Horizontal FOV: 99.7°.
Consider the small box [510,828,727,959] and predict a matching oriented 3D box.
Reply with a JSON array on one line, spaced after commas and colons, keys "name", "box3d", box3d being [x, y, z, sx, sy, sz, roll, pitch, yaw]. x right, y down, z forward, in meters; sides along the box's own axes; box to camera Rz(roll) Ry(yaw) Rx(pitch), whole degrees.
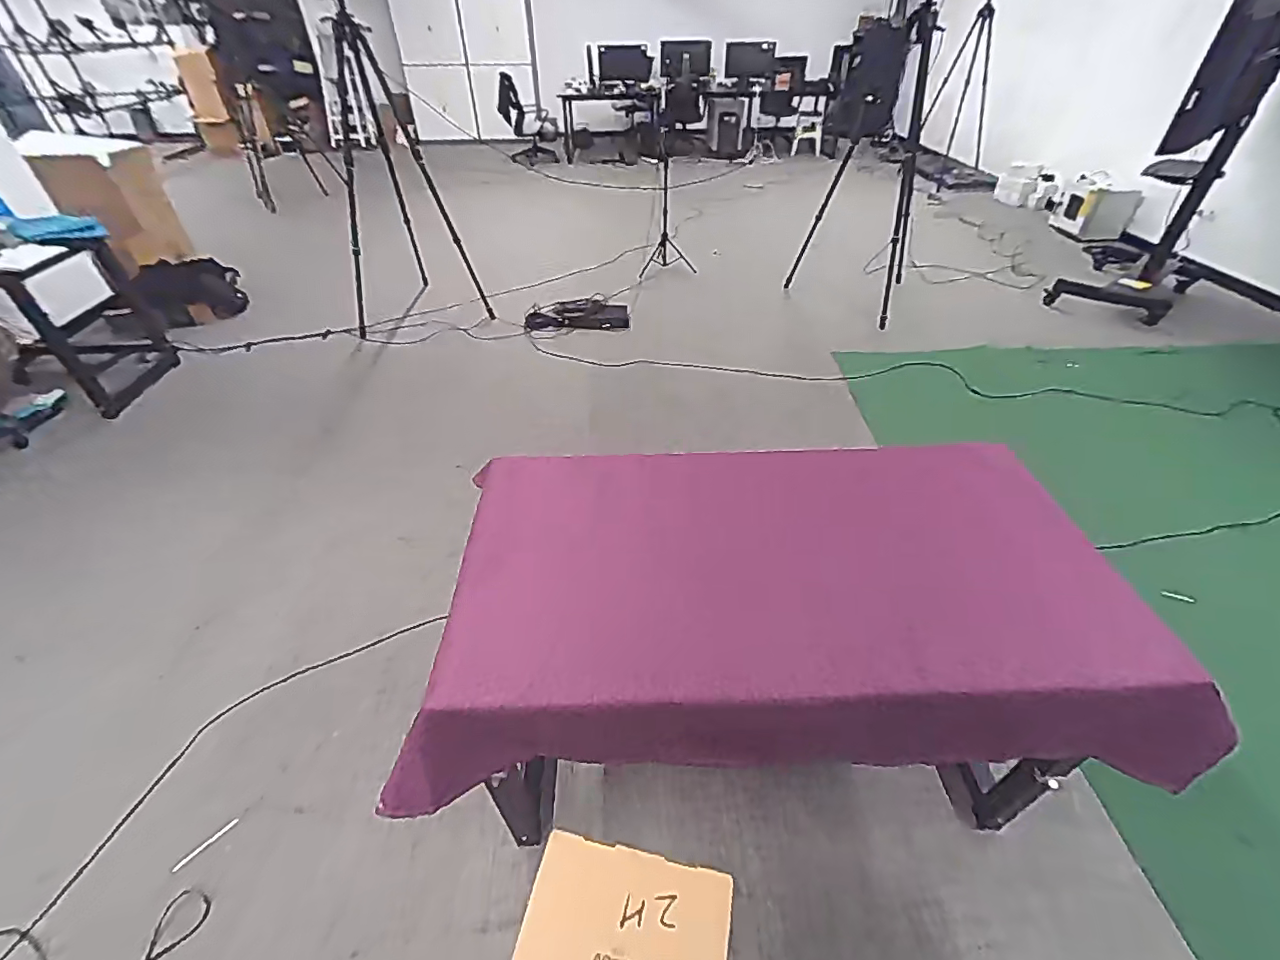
[{"name": "small box", "box3d": [-0.019, 0.448, 0.475, 0.168, 0.176, 0.179, 7, 43, 12]}]
